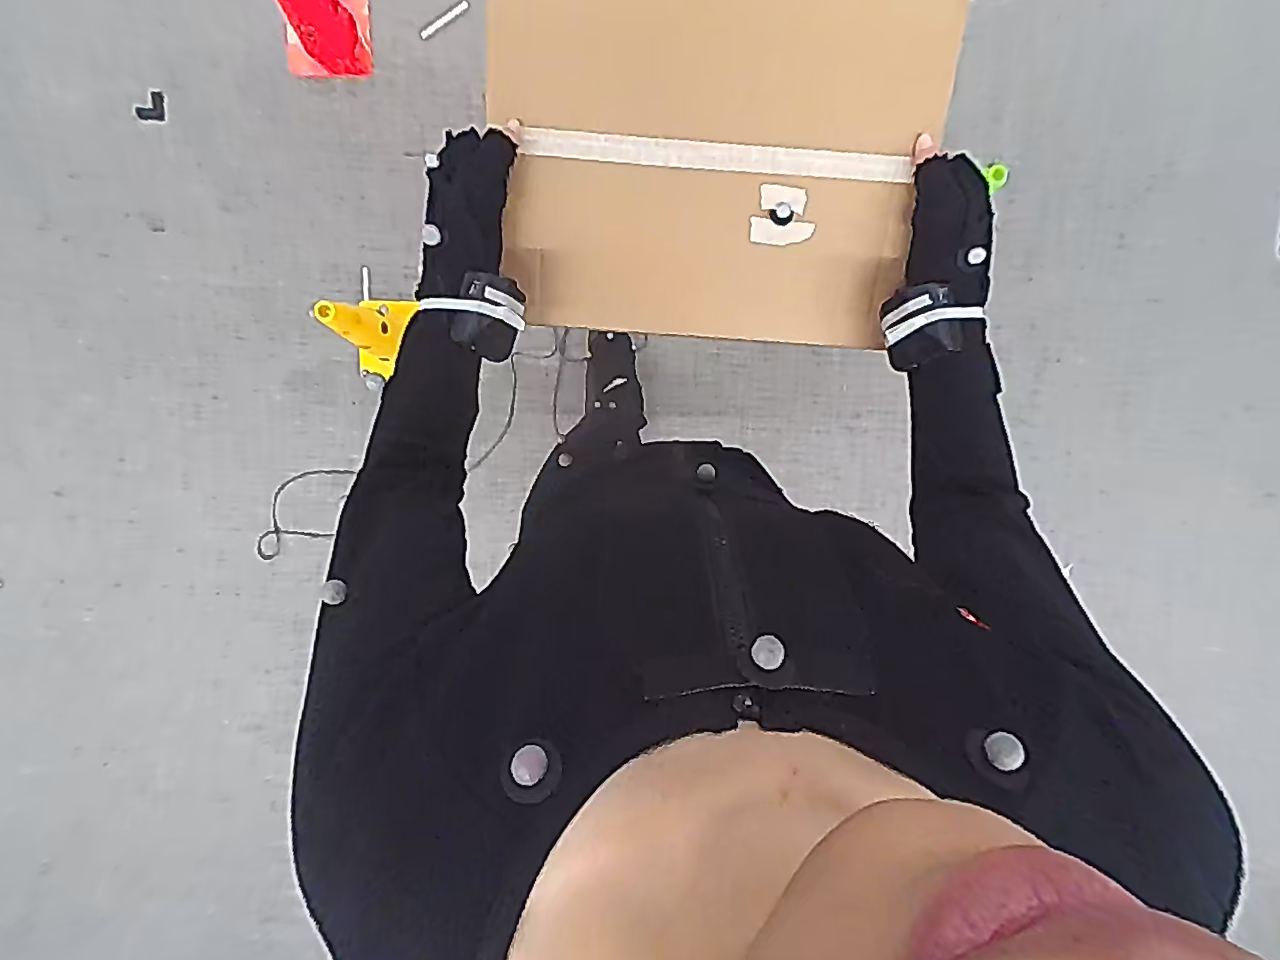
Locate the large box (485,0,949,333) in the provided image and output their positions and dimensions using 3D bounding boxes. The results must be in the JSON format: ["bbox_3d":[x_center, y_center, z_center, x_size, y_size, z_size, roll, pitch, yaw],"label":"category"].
[{"bbox_3d":[0.057,-0.342,0.633,0.408,0.320,0.320,3,106,-2],"label":"large box"}]

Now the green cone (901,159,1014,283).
[{"bbox_3d":[0.707,-0.624,1.244,0.202,0.368,0.200,-35,96,0],"label":"green cone"}]

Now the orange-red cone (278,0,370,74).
[{"bbox_3d":[-0.759,-1.078,1.152,0.198,0.360,0.199,0,97,-1],"label":"orange-red cone"}]
